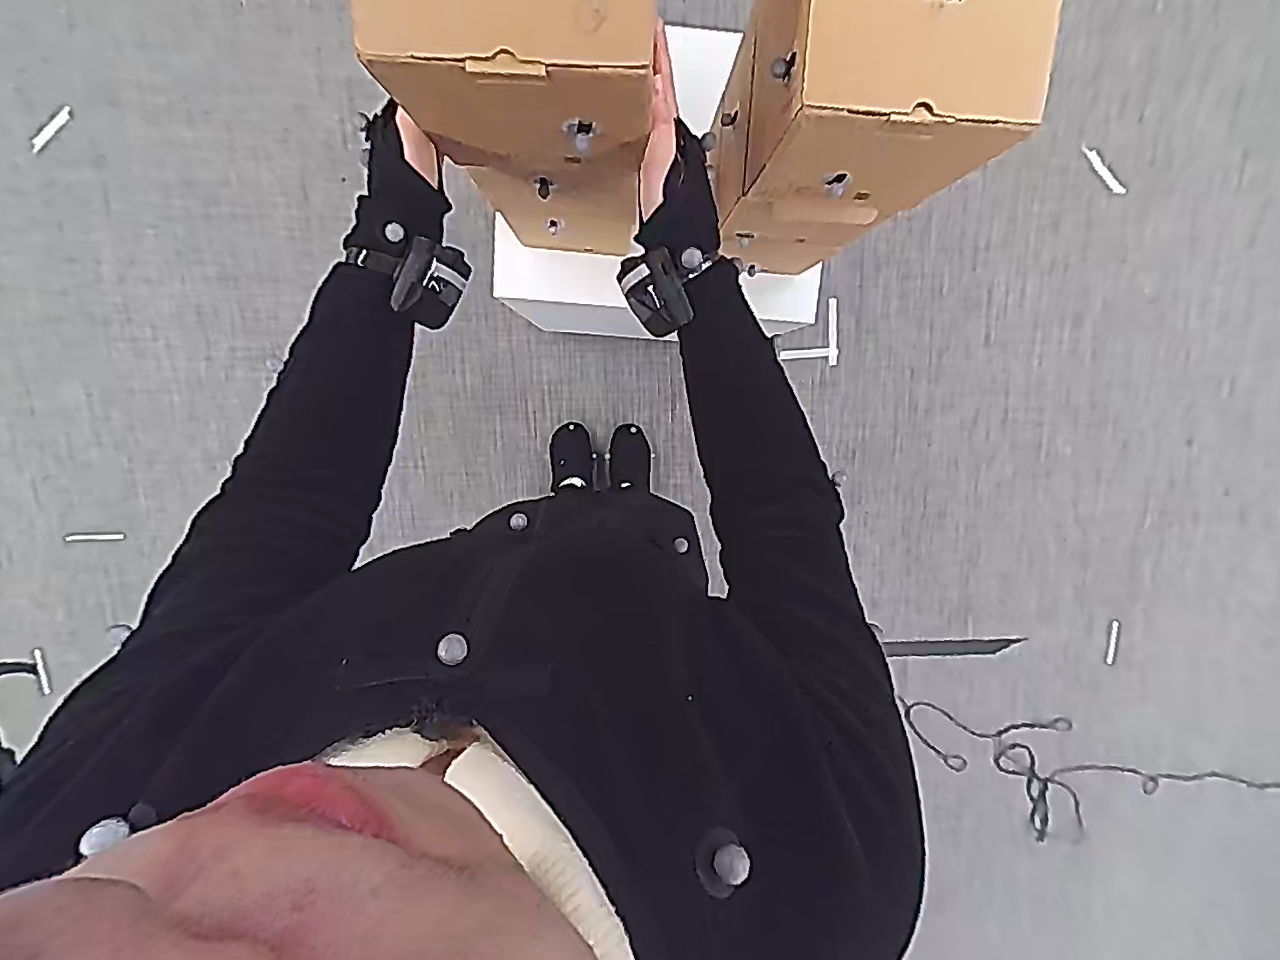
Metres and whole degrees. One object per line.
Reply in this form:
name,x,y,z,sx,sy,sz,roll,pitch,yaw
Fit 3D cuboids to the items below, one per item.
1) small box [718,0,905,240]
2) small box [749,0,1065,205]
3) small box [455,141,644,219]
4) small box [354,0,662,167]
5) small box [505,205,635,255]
small box,0.181,-0.369,0.579,0.168,0.176,0.179,3,100,-2
small box,0.188,-0.338,0.420,0.168,0.176,0.179,2,101,-3
small box,-0.080,-0.388,0.565,0.179,0.176,0.168,4,101,-3
small box,-0.068,-0.327,0.353,0.168,0.176,0.179,3,103,-2
small box,-0.085,-0.422,0.727,0.168,0.176,0.179,5,99,-3
